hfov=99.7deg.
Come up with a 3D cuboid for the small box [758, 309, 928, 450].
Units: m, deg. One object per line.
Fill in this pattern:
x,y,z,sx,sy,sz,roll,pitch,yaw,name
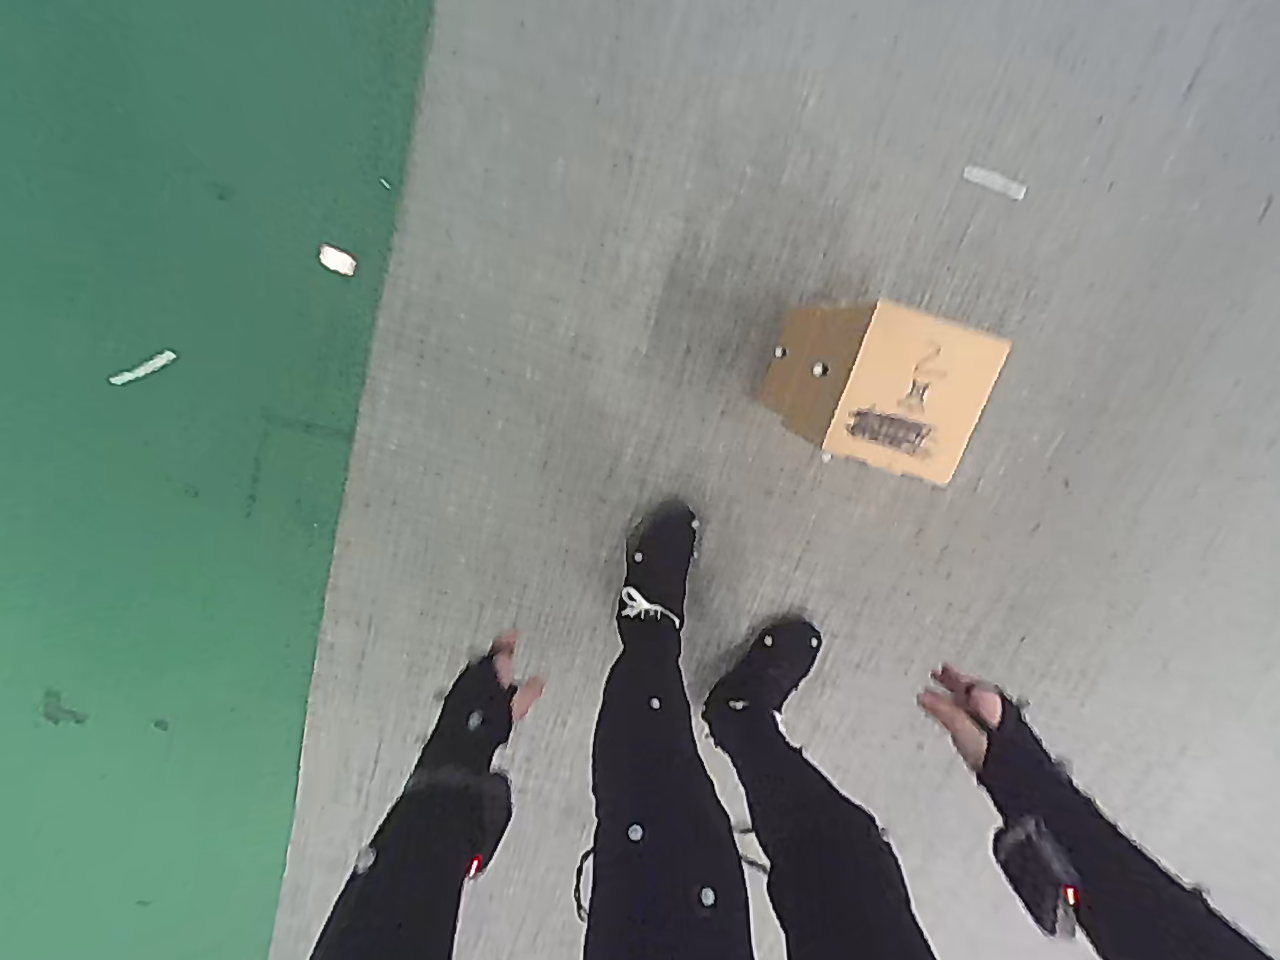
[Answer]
0.307,-0.162,0.863,0.179,0.176,0.168,16,104,-6,small box
